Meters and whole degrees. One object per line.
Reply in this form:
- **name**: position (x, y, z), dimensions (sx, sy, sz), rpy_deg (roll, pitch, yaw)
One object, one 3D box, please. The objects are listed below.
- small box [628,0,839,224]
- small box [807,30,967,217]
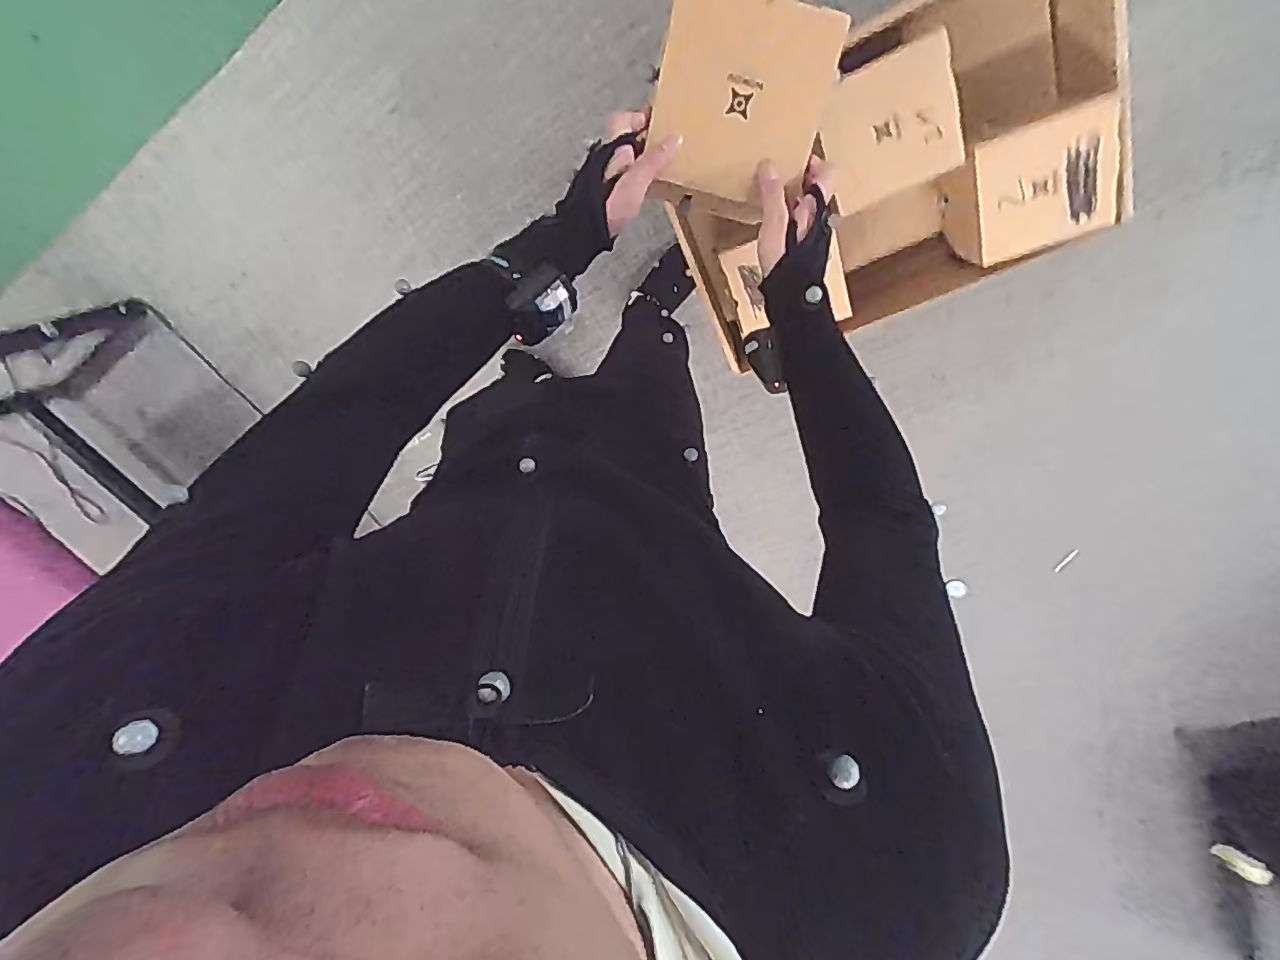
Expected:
- **small box**: position (0.085, -0.392, 0.591), dimensions (0.168, 0.176, 0.179), rpy_deg (11, 110, -6)
- **small box**: position (0.351, -0.516, 0.802), dimensions (0.179, 0.176, 0.168), rpy_deg (-18, 118, 18)
